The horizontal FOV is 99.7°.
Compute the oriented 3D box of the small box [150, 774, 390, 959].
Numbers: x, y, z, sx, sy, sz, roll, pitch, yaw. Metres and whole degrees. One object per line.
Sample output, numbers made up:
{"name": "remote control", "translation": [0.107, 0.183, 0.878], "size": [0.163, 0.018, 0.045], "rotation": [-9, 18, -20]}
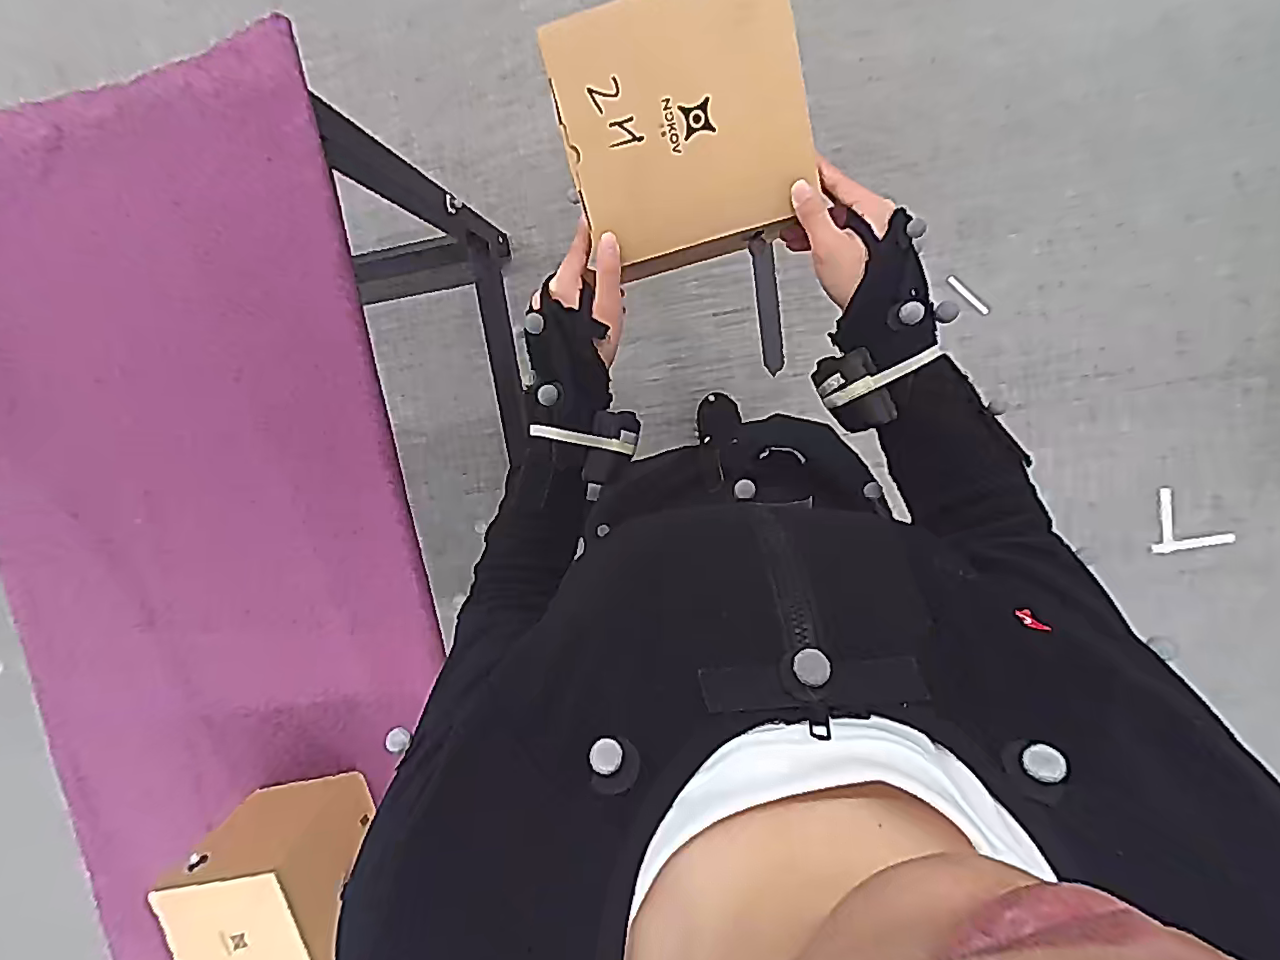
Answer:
{"name": "small box", "translation": [-0.457, 0.516, 0.703], "size": [0.179, 0.176, 0.168], "rotation": [-15, 98, 9]}

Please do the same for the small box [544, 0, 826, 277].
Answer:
{"name": "small box", "translation": [0.036, -0.283, 0.461], "size": [0.179, 0.176, 0.168], "rotation": [-14, 105, 5]}
